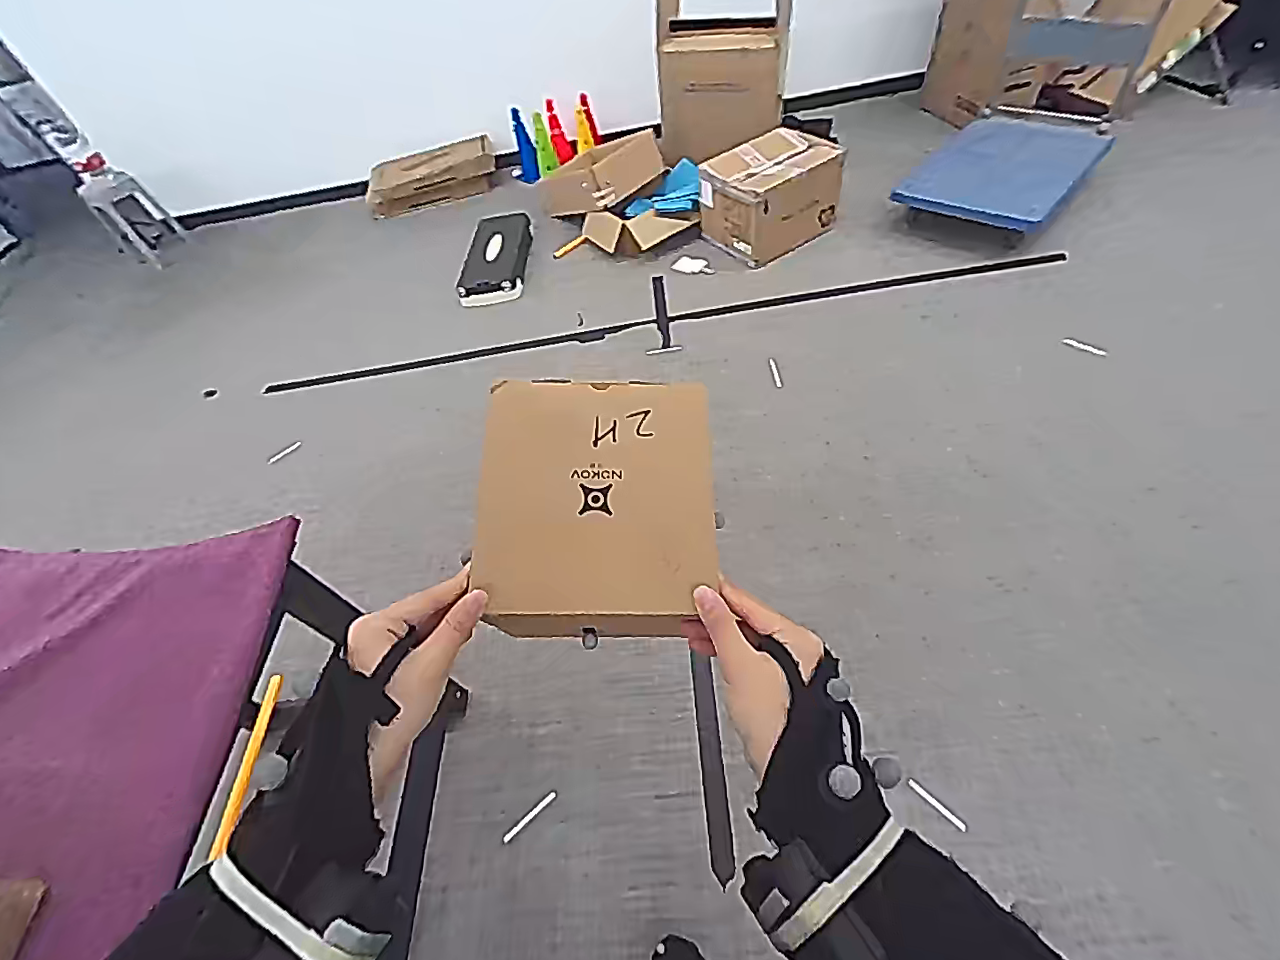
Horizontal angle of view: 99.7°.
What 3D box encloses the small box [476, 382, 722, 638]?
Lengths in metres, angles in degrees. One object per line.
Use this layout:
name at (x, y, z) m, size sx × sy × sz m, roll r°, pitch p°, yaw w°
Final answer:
small box at (-0.028, 0.037, 0.455) m, size 0.168 × 0.176 × 0.179 m, roll 1°, pitch 68°, yaw -3°
